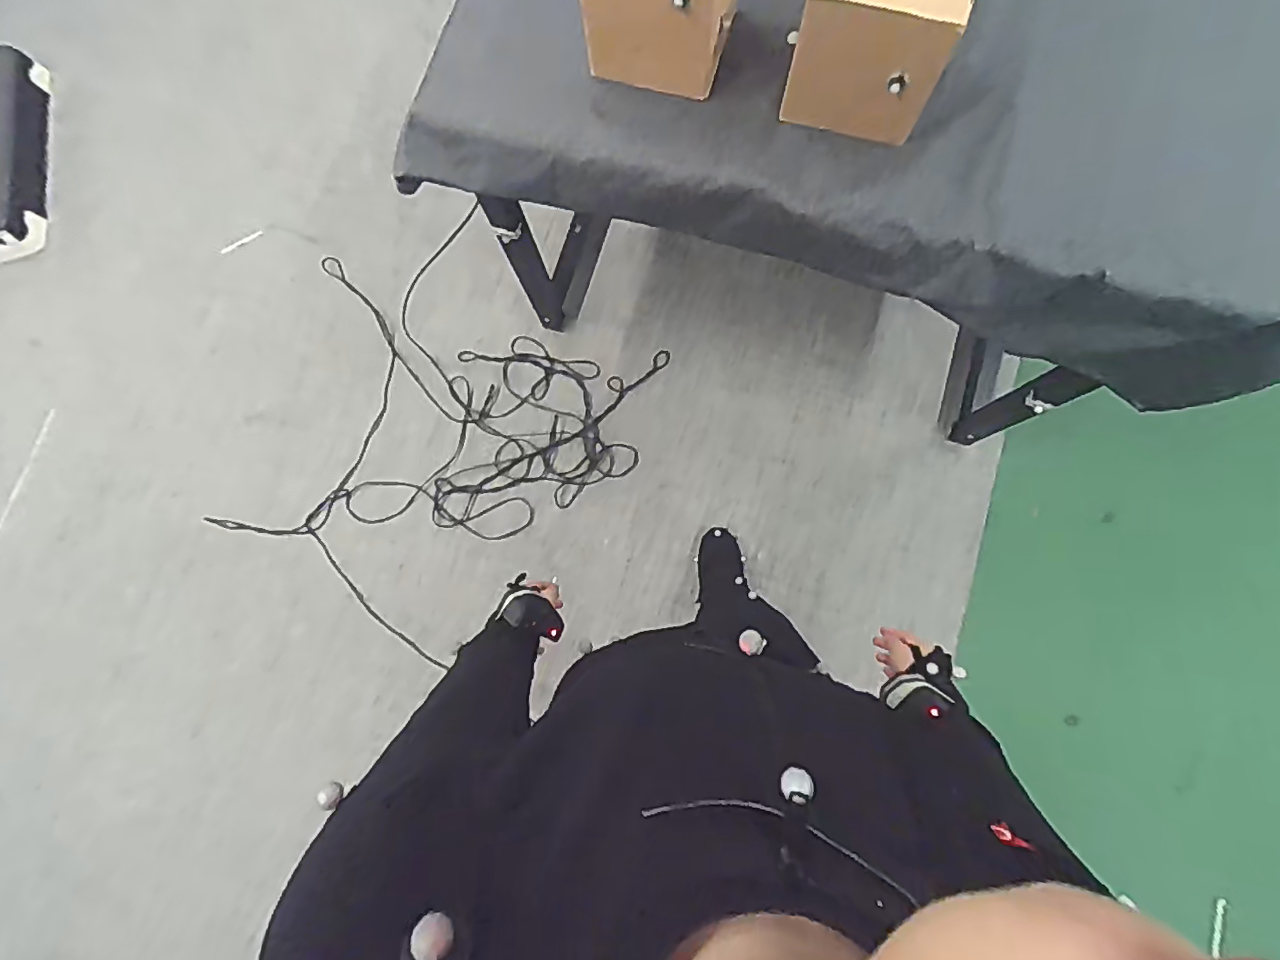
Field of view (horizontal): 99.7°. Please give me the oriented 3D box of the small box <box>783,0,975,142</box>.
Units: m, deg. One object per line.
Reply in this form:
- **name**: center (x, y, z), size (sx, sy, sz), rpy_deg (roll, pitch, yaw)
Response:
- **small box**: center (0.296, -0.565, 0.677), size (0.179, 0.176, 0.168), rpy_deg (16, 80, 7)

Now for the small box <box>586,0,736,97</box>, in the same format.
- **small box**: center (0.030, -0.648, 0.709), size (0.179, 0.176, 0.168), rpy_deg (16, 81, 6)
